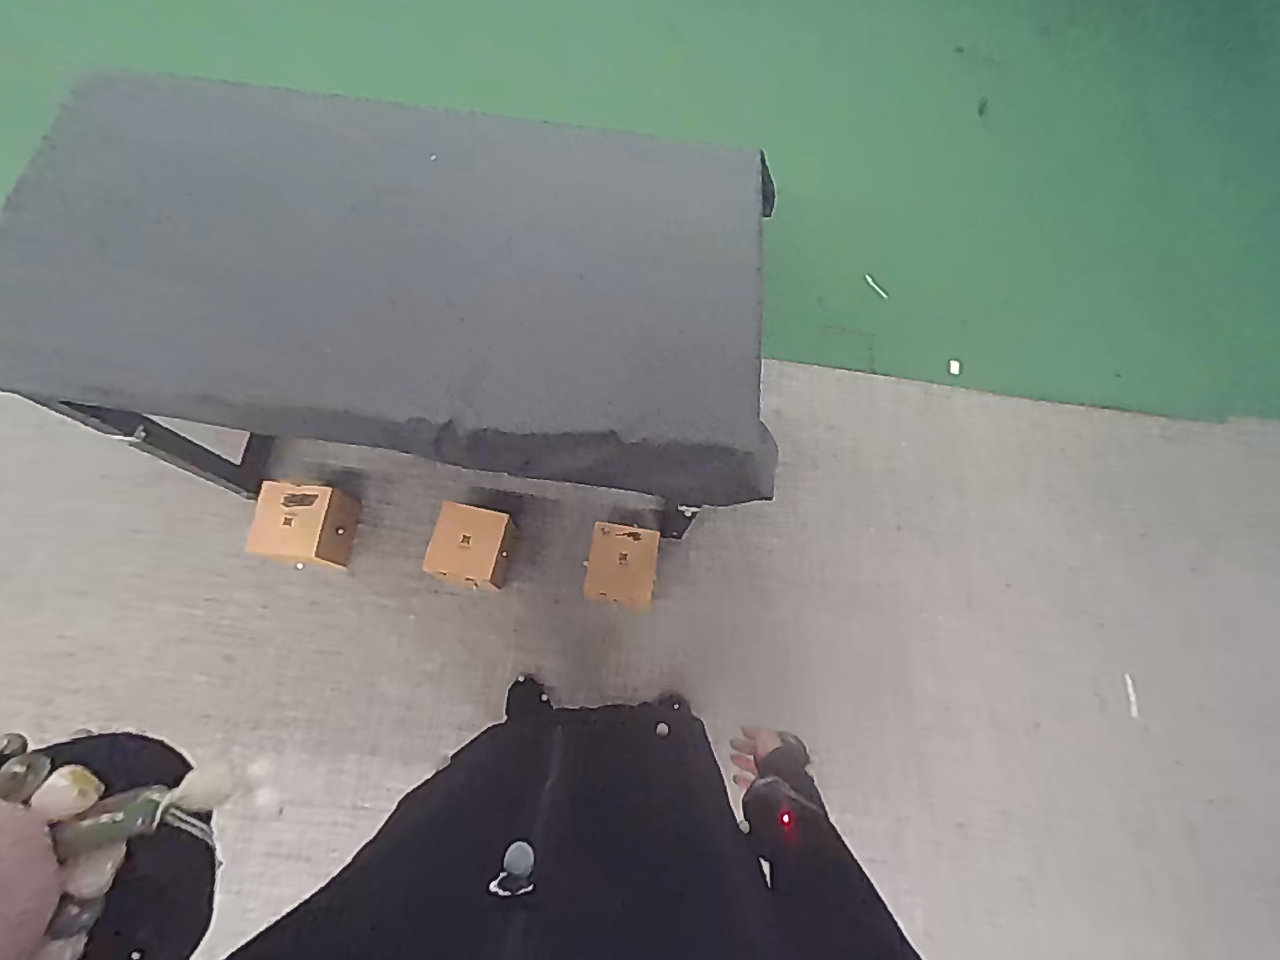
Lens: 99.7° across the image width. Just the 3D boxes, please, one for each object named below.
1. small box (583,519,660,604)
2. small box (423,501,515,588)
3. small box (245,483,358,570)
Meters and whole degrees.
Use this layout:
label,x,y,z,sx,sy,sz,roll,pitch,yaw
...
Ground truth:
label,x,y,z,sx,sy,sz,roll,pitch,yaw
small box,-0.047,0.215,1.386,0.168,0.176,0.179,9,71,-1
small box,-0.424,0.171,1.373,0.168,0.176,0.179,11,71,-2
small box,-0.834,0.120,1.355,0.168,0.176,0.179,5,73,-2
